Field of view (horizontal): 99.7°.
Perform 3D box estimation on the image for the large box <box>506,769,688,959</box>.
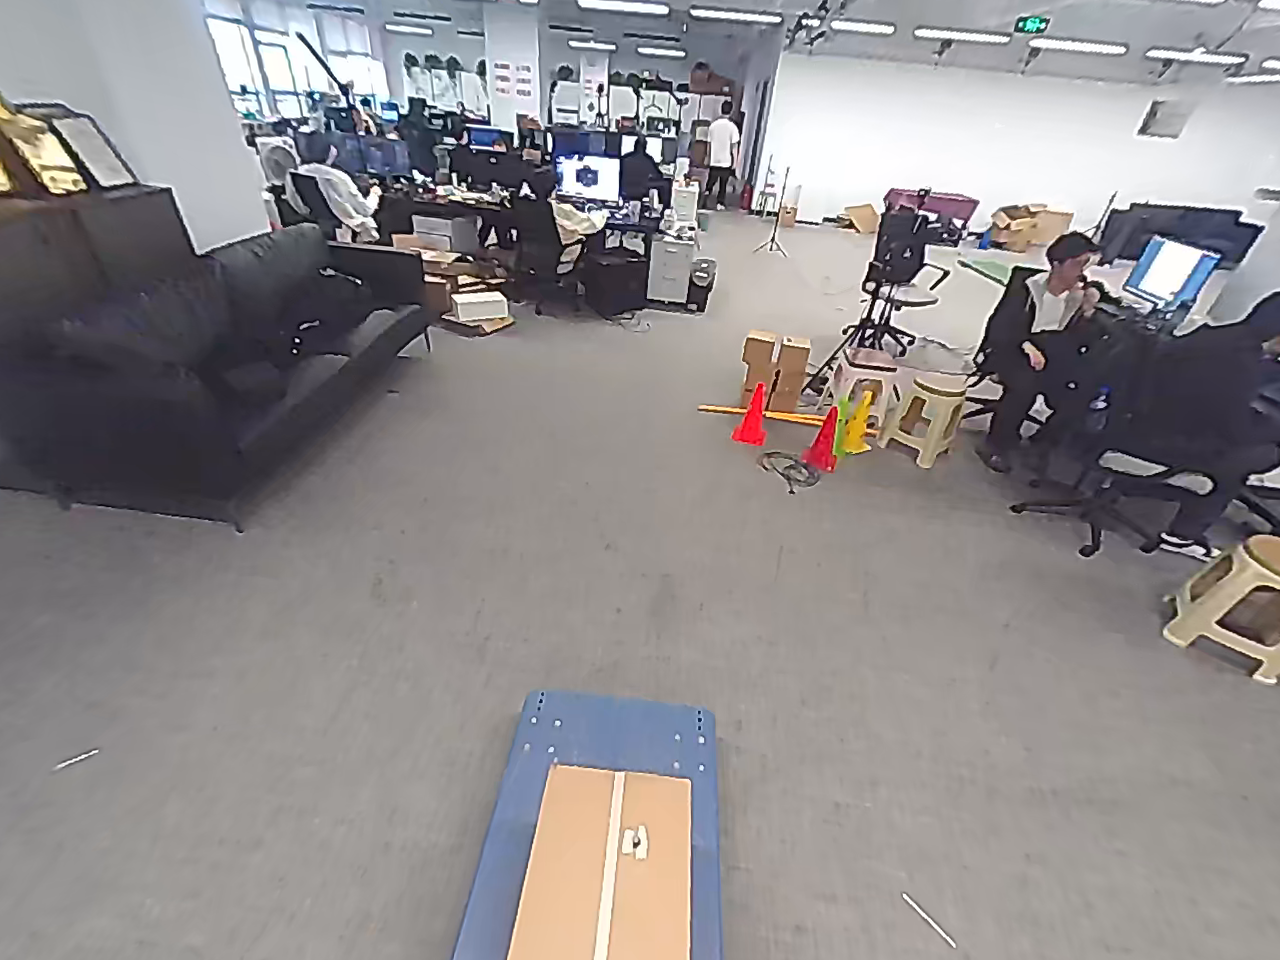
[{"bbox_3d":[-0.075,0.880,1.100,0.320,0.320,0.408,6,34,1],"label":"large box"}]
